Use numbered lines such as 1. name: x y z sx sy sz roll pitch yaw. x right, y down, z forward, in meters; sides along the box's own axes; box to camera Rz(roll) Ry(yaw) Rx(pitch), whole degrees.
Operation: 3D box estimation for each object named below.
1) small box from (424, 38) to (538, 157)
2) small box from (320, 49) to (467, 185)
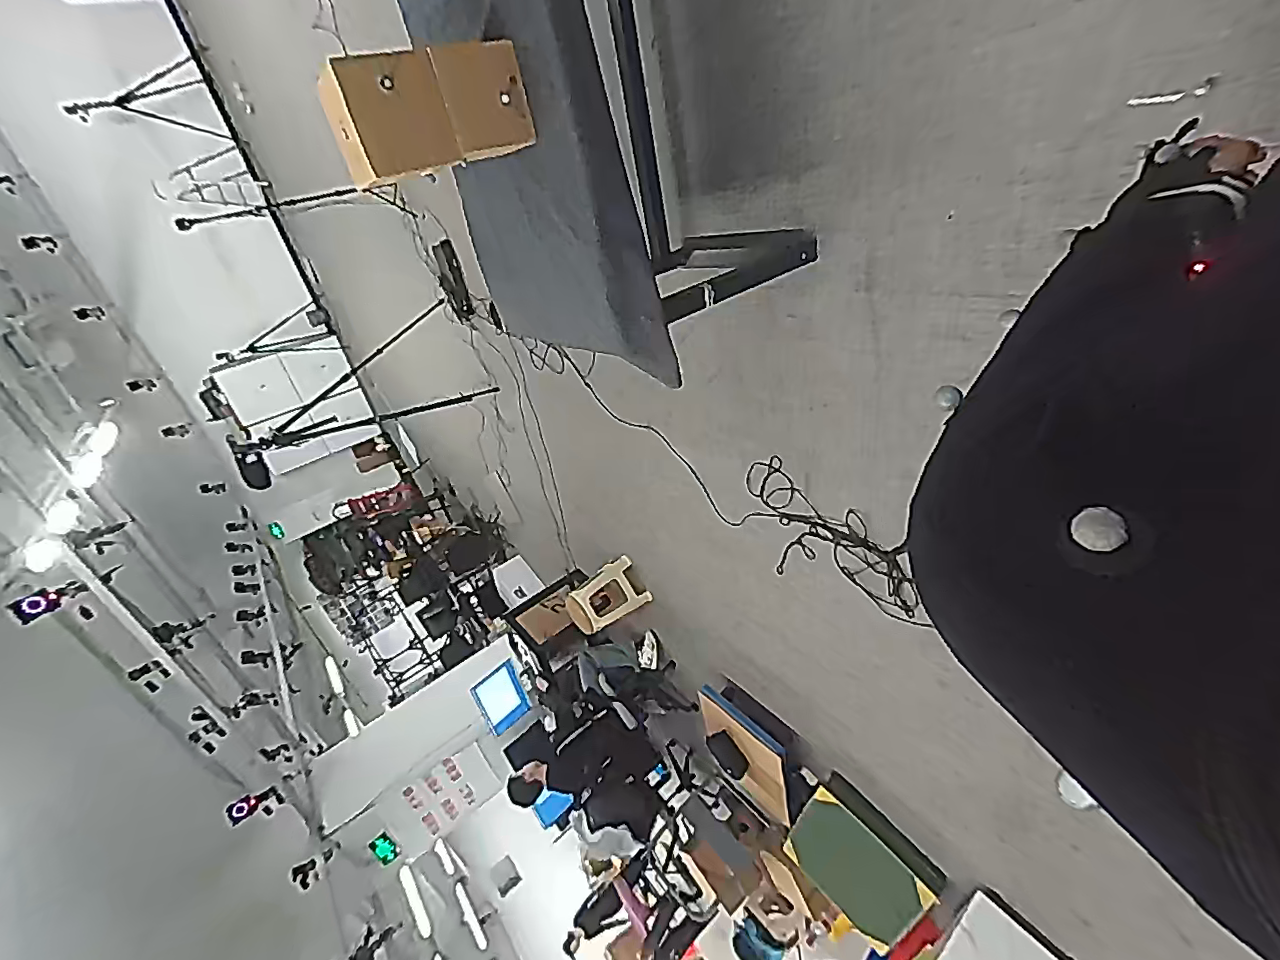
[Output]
1. small box: -0.326 -0.743 1.067 0.179 0.176 0.168 25 137 47
2. small box: -0.449 -0.664 0.995 0.168 0.176 0.179 25 138 49
